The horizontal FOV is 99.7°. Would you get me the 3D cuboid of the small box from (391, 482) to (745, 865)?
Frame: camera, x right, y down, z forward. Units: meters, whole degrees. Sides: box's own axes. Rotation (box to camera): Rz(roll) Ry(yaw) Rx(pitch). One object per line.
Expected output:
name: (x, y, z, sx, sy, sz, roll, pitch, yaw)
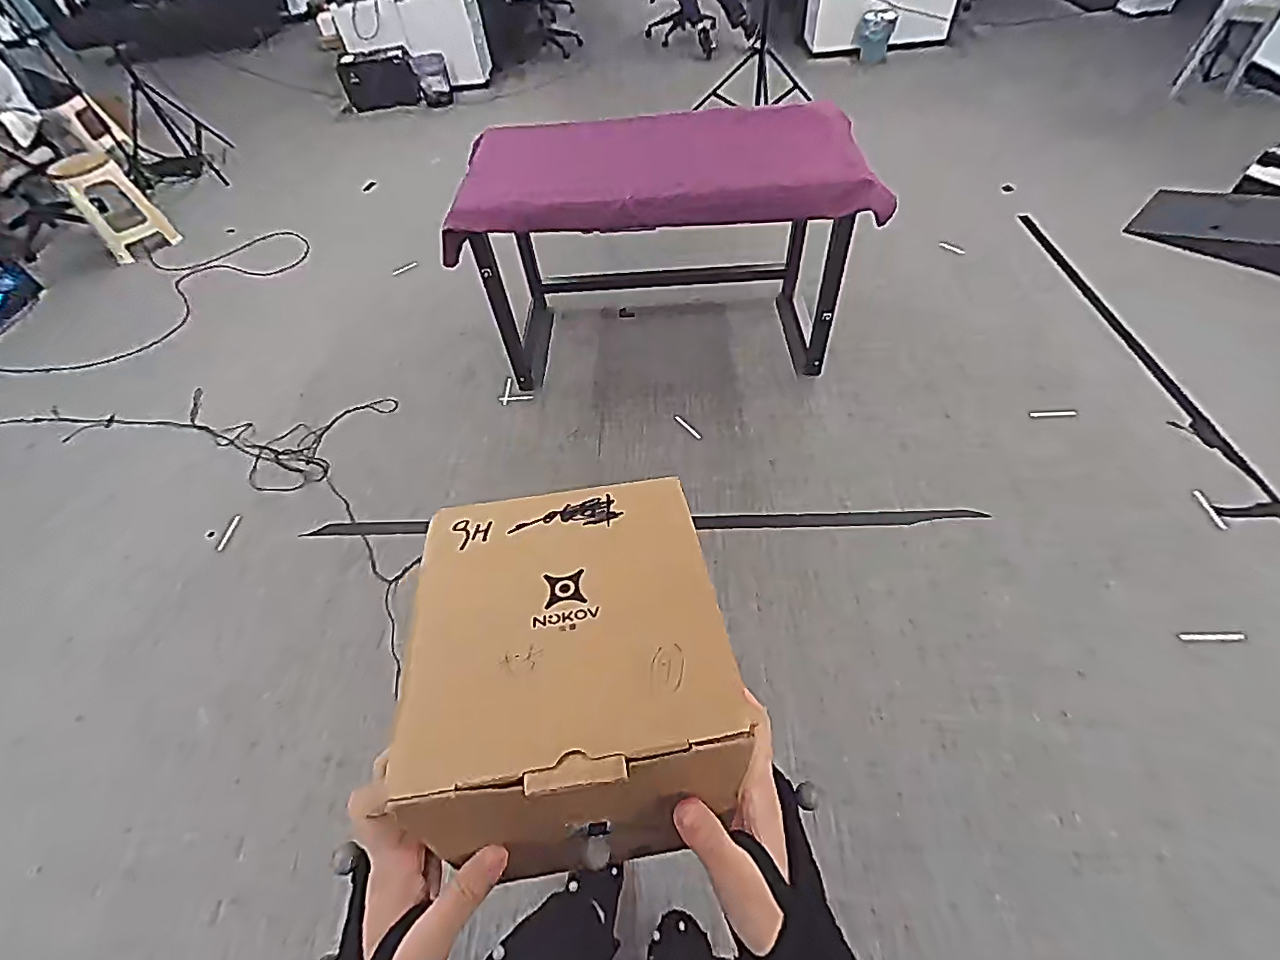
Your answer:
small box: (-0.037, 0.128, 0.355, 0.168, 0.176, 0.179, -7, 43, -5)
